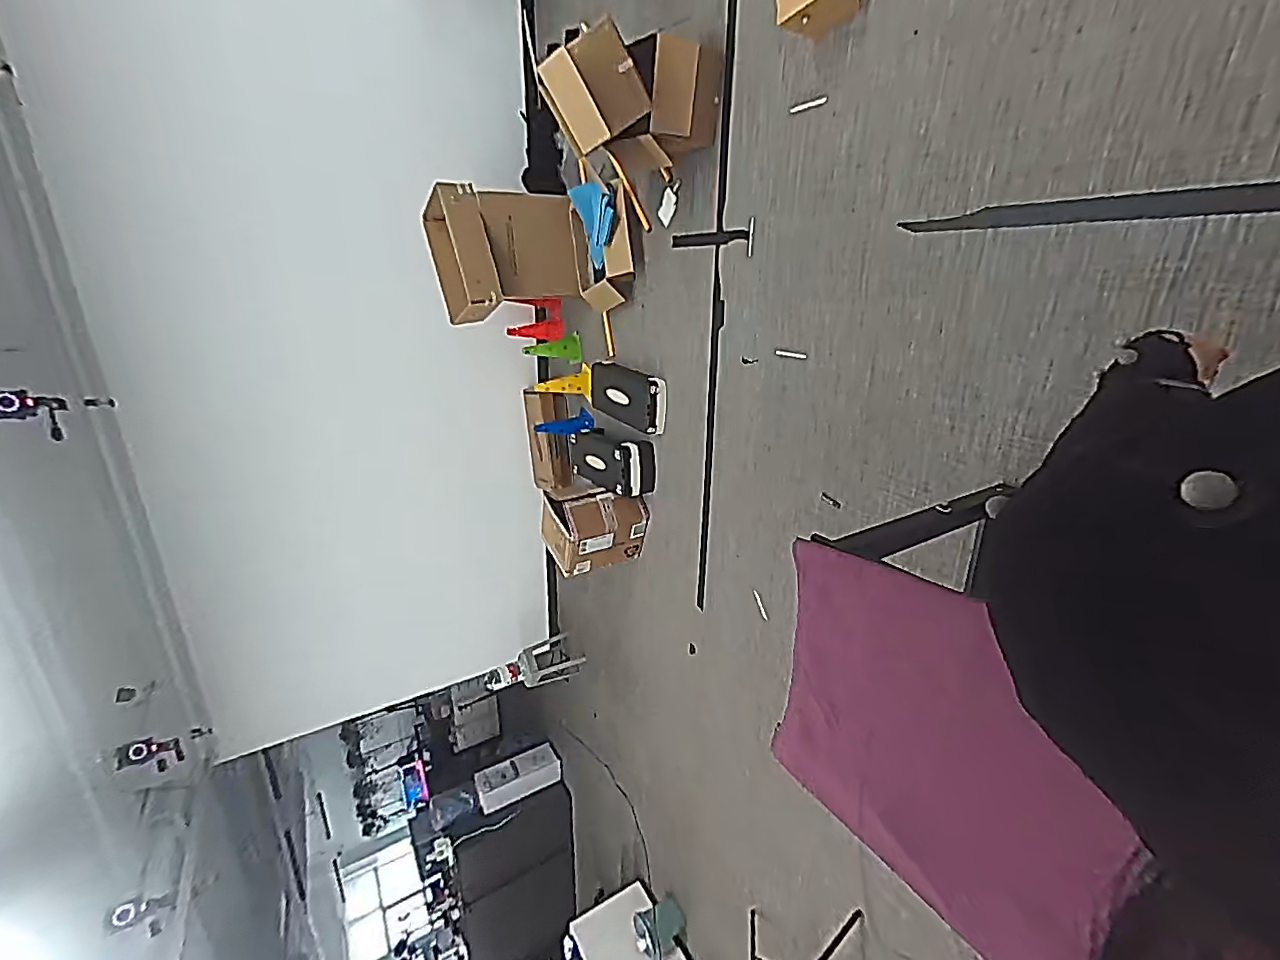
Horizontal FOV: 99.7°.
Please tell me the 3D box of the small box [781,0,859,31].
[{"bbox_3d":[0.533,-1.460,1.576,0.179,0.176,0.168,19,116,57],"label":"small box"}]
